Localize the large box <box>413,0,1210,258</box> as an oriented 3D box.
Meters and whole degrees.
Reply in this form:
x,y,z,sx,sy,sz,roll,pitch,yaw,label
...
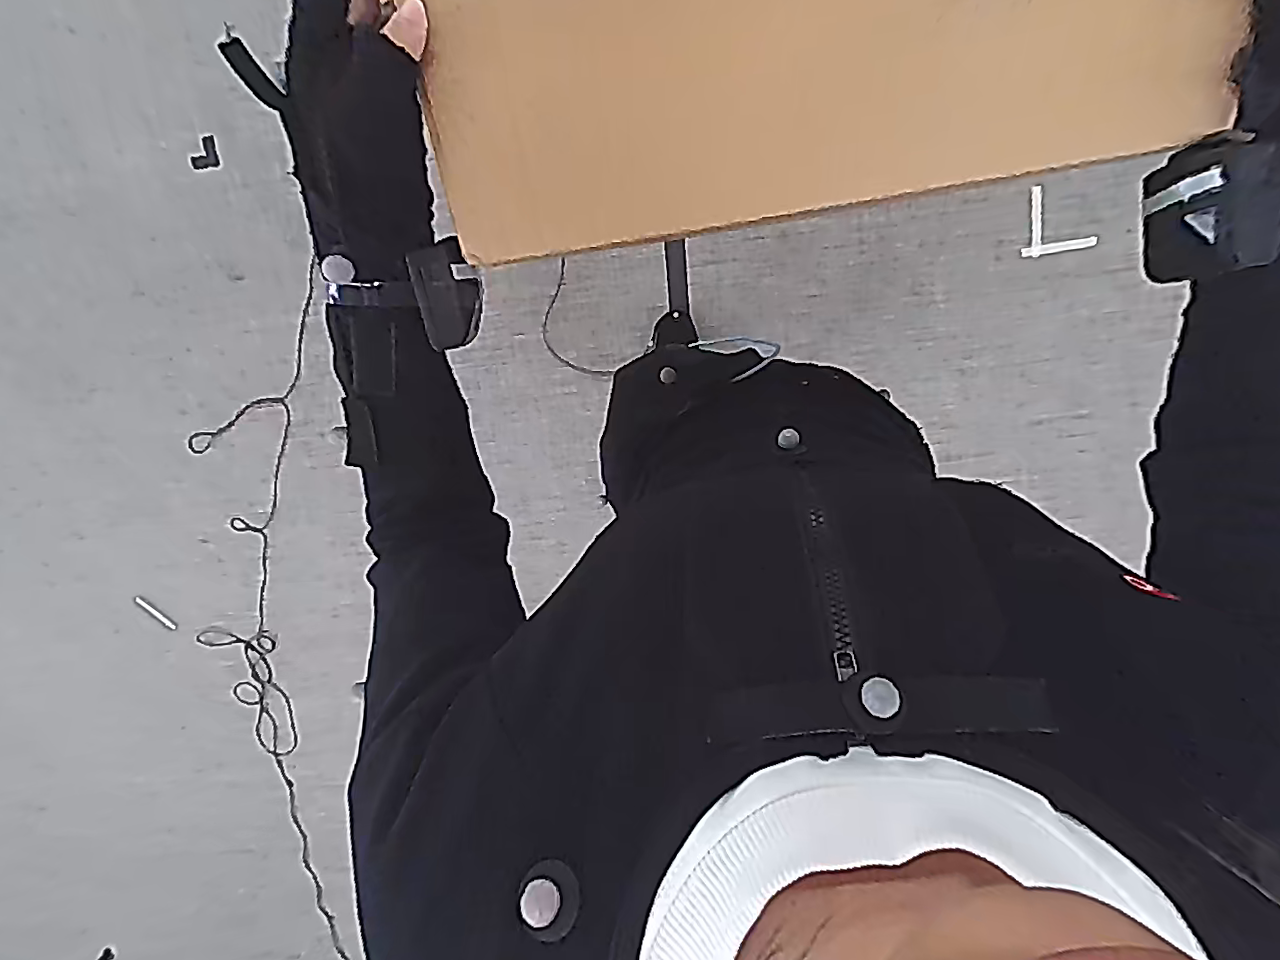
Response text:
x,y,z,sx,sy,sz,roll,pitch,yaw,label
0.075,-0.360,0.386,0.408,0.320,0.320,-8,114,5,large box
